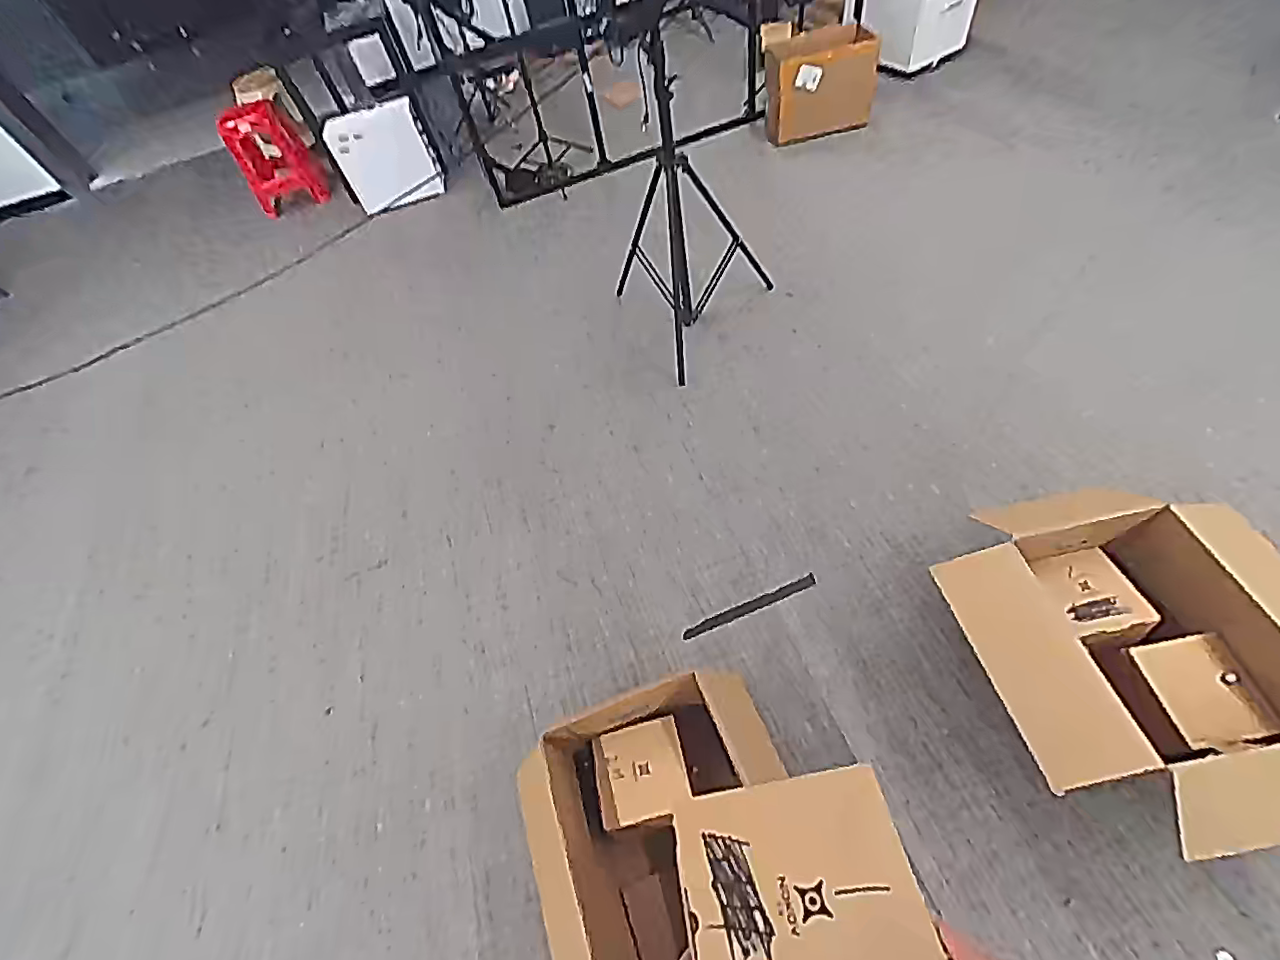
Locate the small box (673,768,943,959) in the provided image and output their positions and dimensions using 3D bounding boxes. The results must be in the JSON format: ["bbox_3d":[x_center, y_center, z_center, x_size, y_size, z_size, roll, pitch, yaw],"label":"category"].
[{"bbox_3d":[0.141,0.375,0.468,0.179,0.176,0.168,-15,48,5],"label":"small box"}]
